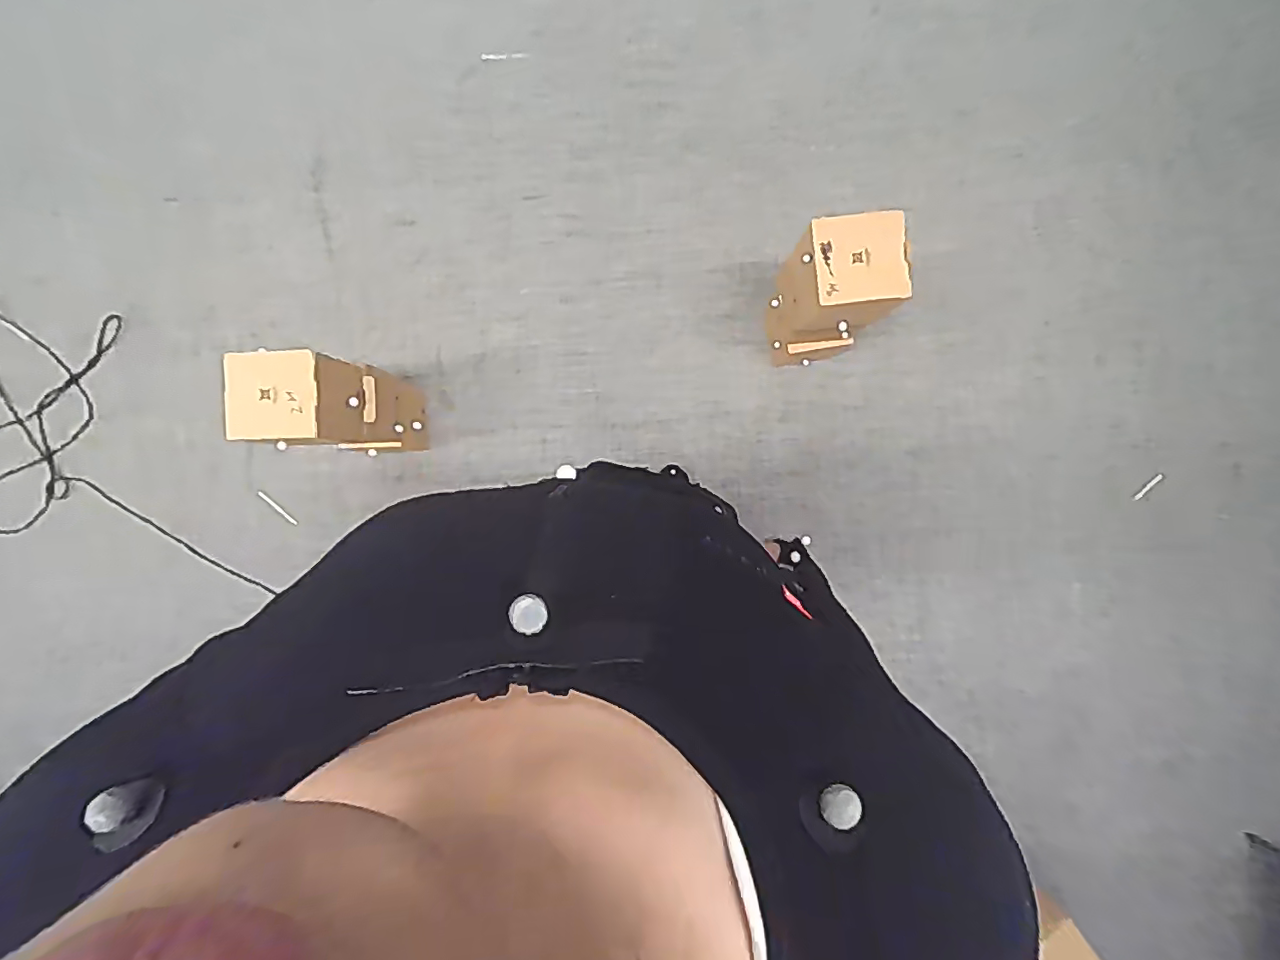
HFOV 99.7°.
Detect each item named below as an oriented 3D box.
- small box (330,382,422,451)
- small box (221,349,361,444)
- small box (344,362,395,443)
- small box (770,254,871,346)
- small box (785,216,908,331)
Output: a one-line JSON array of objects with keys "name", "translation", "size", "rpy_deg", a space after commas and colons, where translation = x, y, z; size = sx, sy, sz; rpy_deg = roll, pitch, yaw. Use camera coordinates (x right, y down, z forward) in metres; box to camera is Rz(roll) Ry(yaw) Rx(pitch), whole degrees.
[{"name": "small box", "translation": [-0.681, -0.163, 1.411], "size": [0.179, 0.176, 0.168], "rpy_deg": [-2, 90, 1]}, {"name": "small box", "translation": [-0.689, -0.160, 1.082], "size": [0.179, 0.176, 0.168], "rpy_deg": [-1, 91, 1]}, {"name": "small box", "translation": [-0.683, -0.174, 1.247], "size": [0.179, 0.176, 0.168], "rpy_deg": [-1, 90, 2]}, {"name": "small box", "translation": [0.414, -0.417, 1.255], "size": [0.179, 0.176, 0.168], "rpy_deg": [-5, 90, 1]}, {"name": "small box", "translation": [0.408, -0.408, 1.091], "size": [0.179, 0.176, 0.168], "rpy_deg": [-5, 90, -1]}]
